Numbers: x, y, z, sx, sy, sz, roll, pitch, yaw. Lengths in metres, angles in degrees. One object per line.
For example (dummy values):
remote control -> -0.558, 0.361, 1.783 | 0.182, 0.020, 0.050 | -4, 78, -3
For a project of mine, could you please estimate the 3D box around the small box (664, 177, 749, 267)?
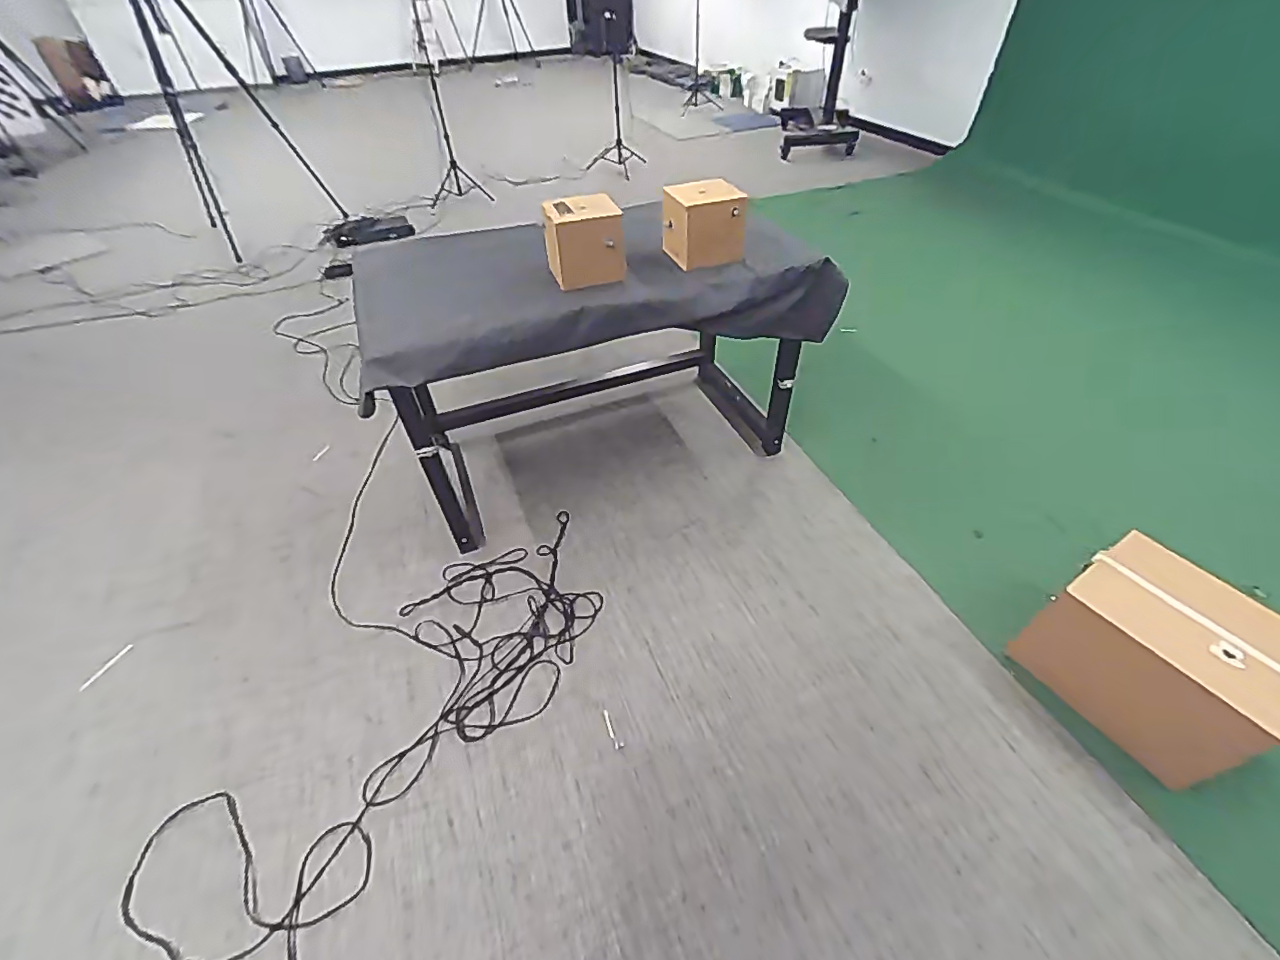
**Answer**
small box -> 0.173, -0.689, 1.447 | 0.179, 0.176, 0.168 | -15, 46, -13
